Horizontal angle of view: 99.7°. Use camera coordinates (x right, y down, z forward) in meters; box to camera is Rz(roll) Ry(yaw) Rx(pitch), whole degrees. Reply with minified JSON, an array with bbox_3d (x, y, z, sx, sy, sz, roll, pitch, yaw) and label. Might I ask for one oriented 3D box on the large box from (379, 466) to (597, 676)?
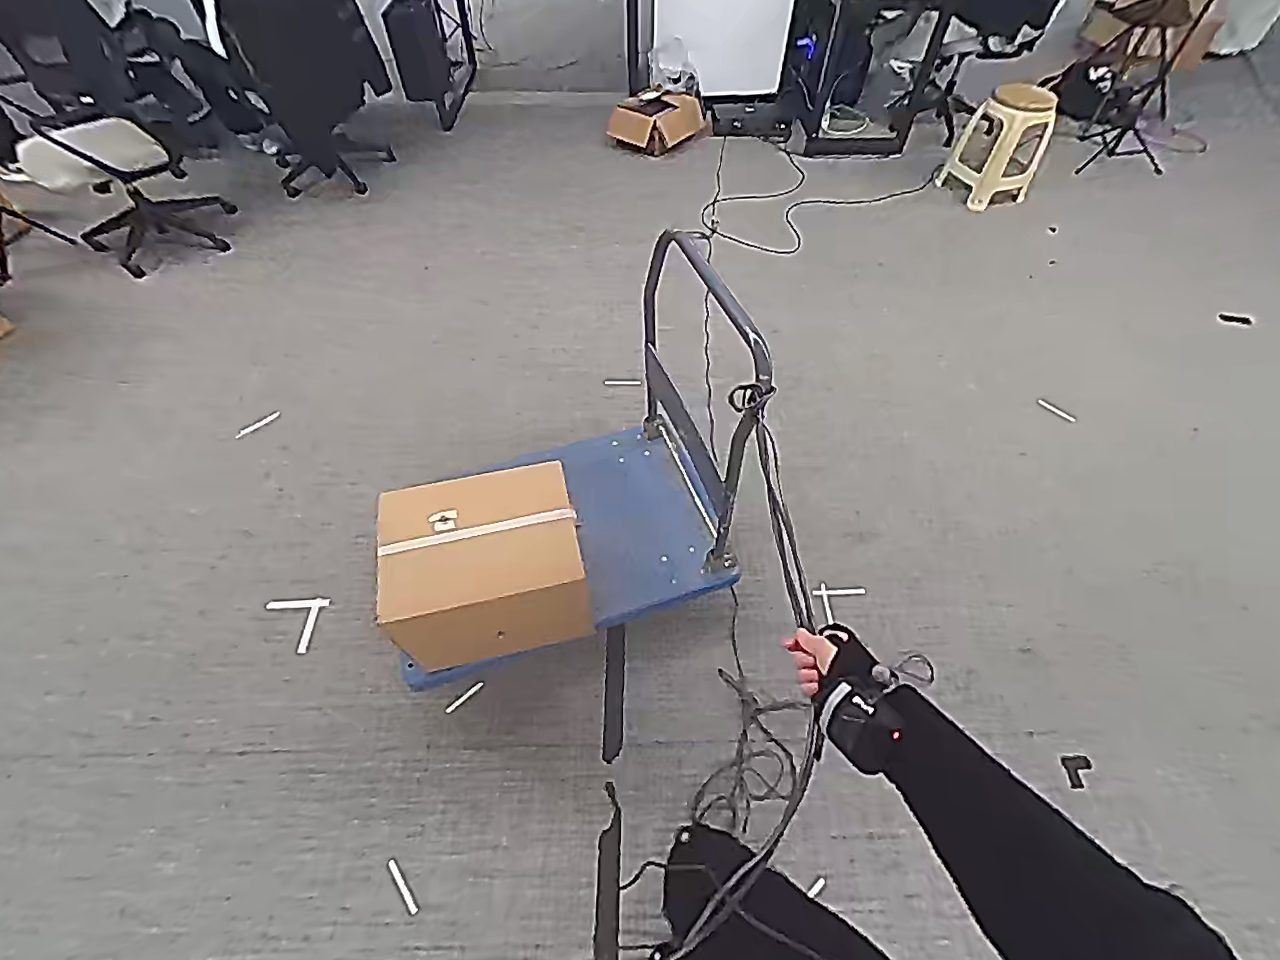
[{"bbox_3d":[-0.335,0.213,1.246,0.408,0.320,0.320,-12,54,-8],"label":"large box"}]
